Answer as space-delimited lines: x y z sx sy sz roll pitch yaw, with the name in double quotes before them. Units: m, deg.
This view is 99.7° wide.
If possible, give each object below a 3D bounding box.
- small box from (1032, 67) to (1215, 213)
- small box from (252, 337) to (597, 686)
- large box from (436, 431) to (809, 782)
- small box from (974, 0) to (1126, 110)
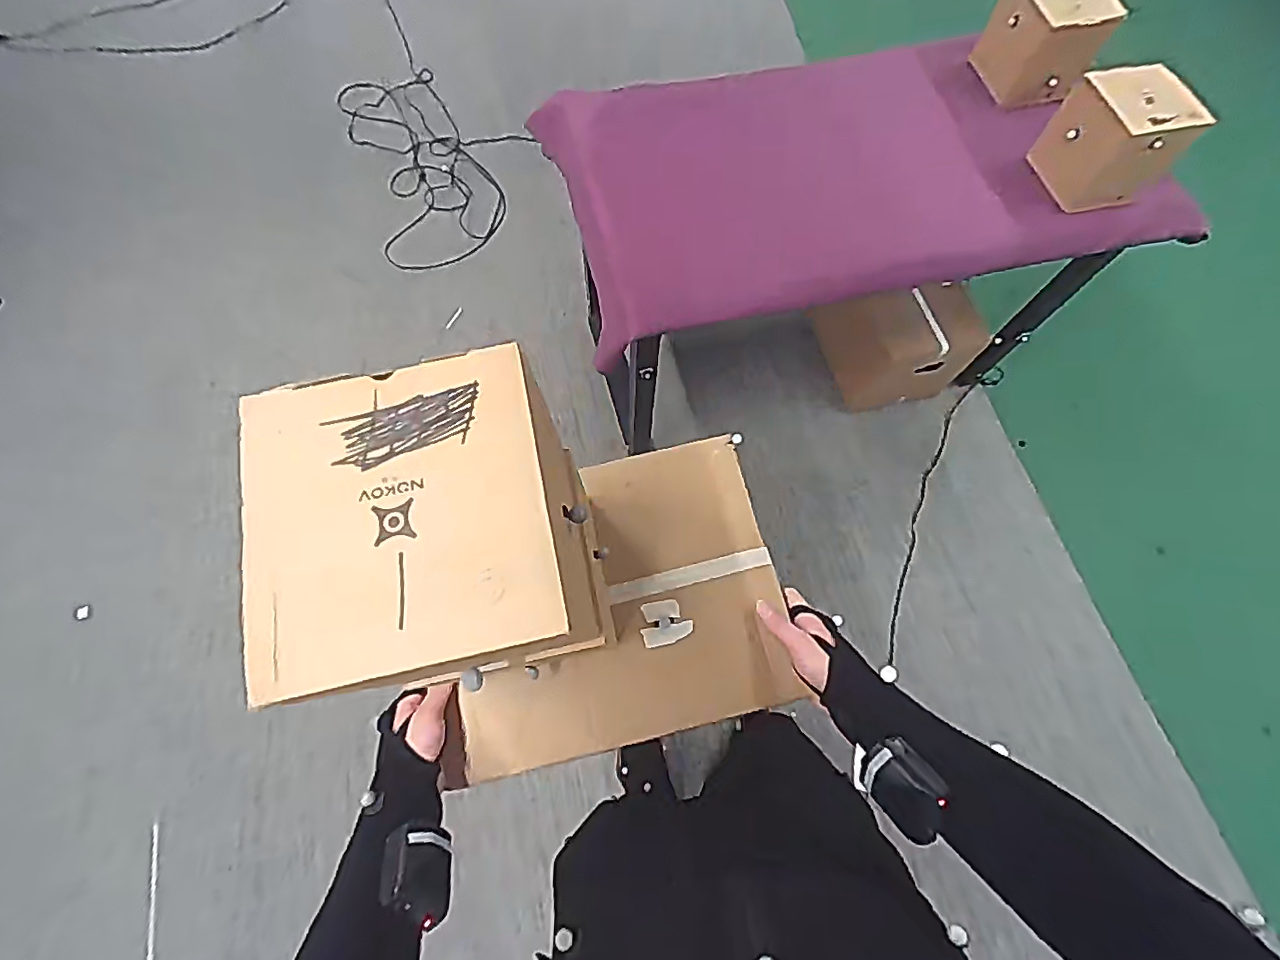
"small box" 0.925 -0.660 1.059 0.168 0.176 0.179 -11 66 -3
"small box" -0.130 0.032 0.376 0.168 0.176 0.179 -13 74 -3
"large box" -0.043 0.172 0.760 0.408 0.320 0.320 -14 74 -4
"small box" 0.872 -0.949 1.172 0.168 0.176 0.179 -12 70 -3
